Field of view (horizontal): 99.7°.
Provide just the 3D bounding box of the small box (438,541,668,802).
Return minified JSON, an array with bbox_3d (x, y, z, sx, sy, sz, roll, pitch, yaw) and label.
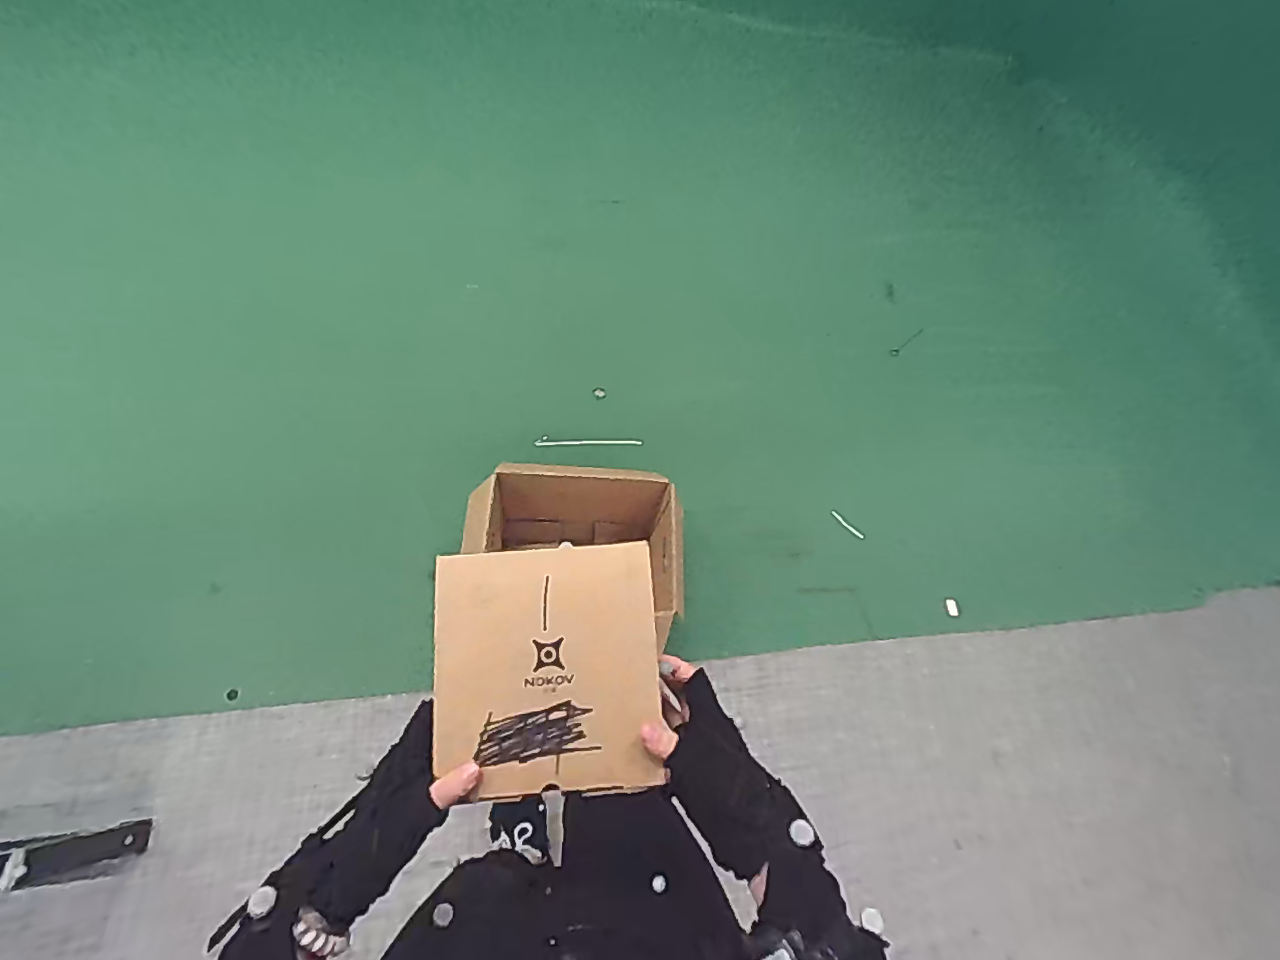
[{"bbox_3d":[-0.068,0.154,0.476,0.168,0.176,0.179,-4,76,-4],"label":"small box"}]
